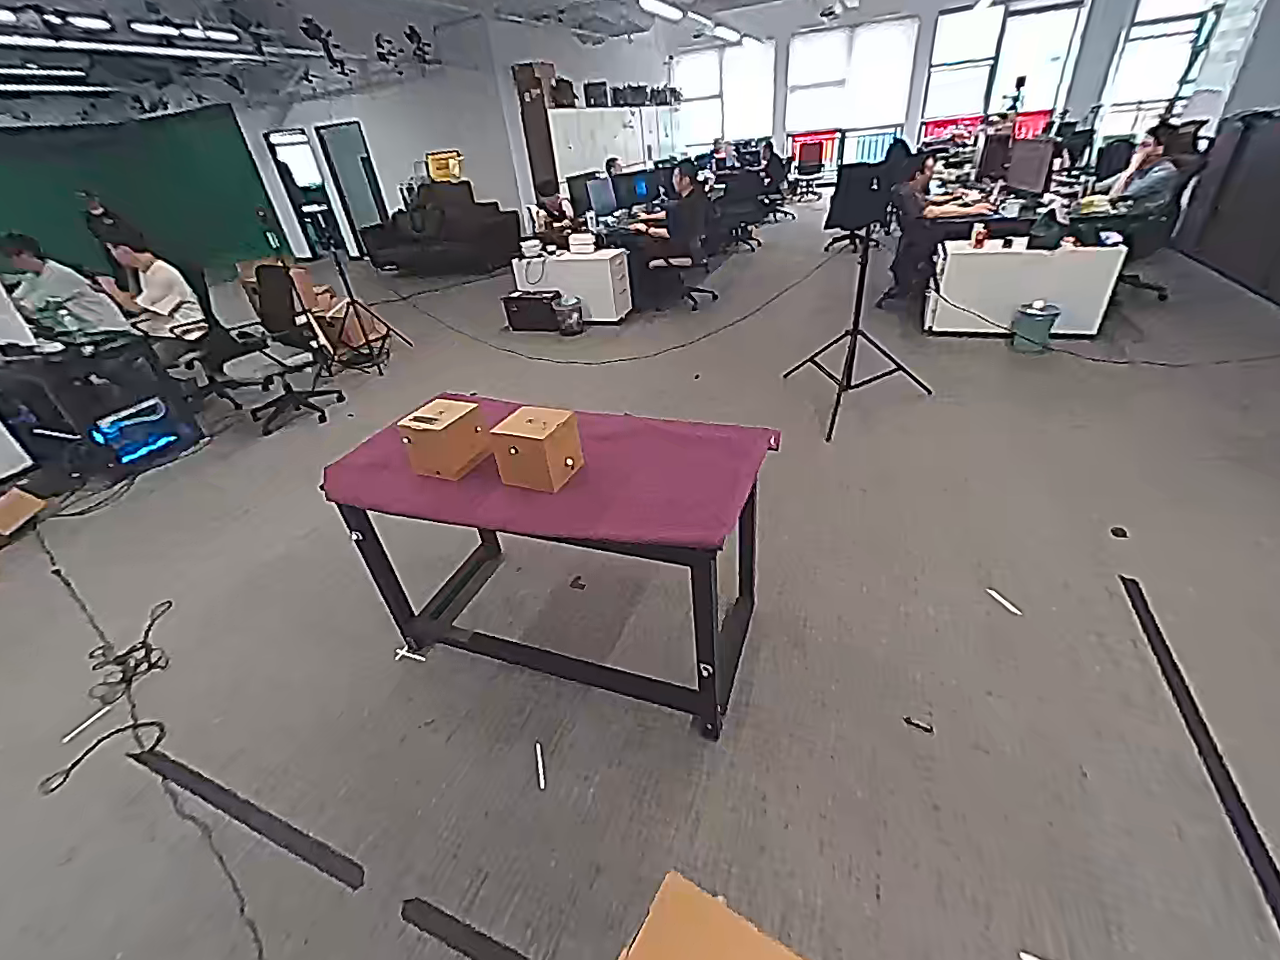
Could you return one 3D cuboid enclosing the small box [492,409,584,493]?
[{"bbox_3d":[-0.276,-0.081,1.499,0.179,0.176,0.168,10,36,23],"label":"small box"}]
